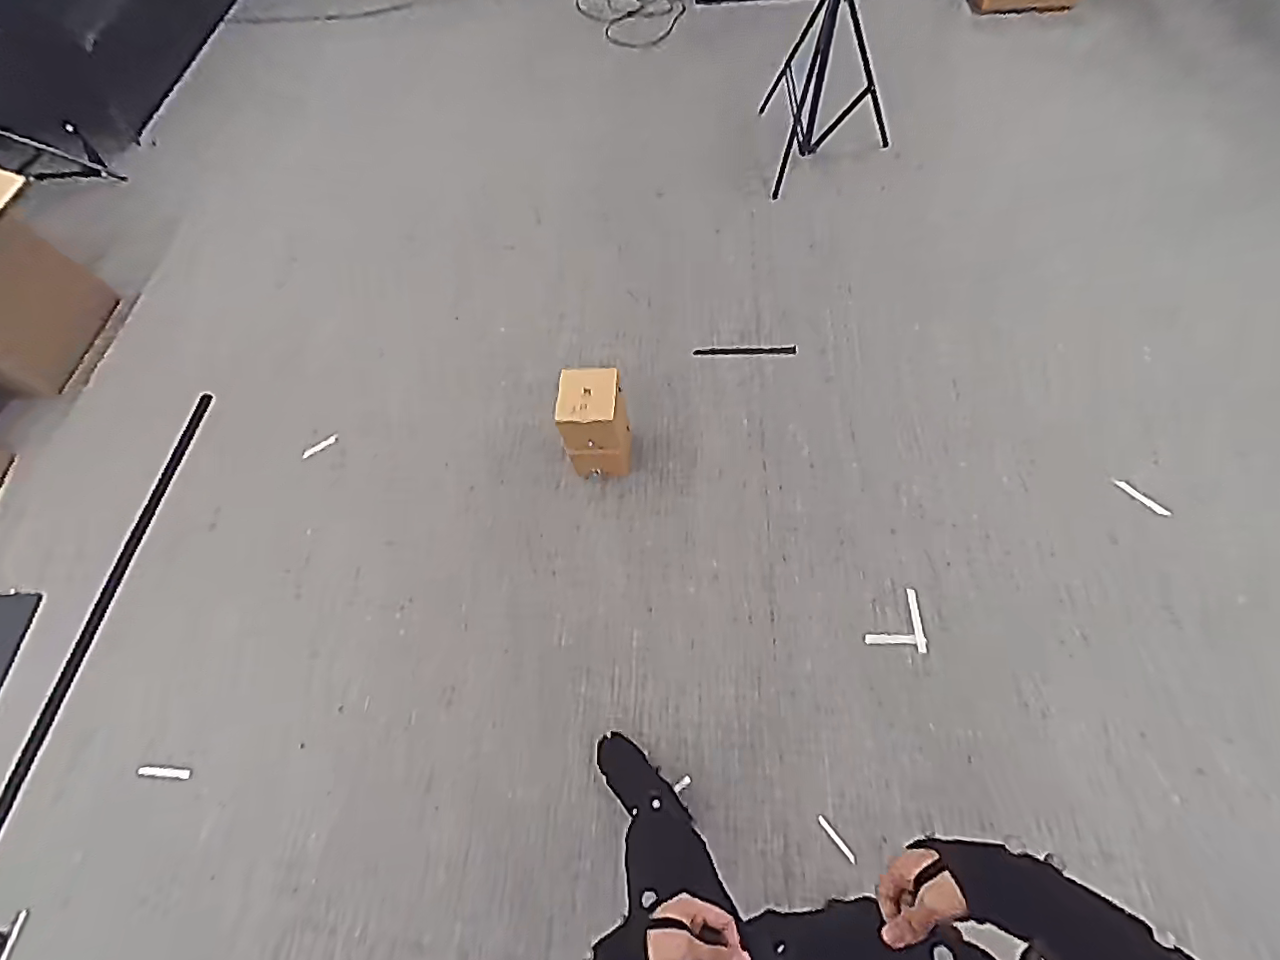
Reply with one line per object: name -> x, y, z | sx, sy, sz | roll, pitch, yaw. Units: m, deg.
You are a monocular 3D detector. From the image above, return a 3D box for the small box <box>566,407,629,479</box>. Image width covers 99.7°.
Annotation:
small box -> -0.127, -0.119, 1.716 | 0.168, 0.176, 0.179 | 0, 63, 7

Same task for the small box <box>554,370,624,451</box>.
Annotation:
small box -> -0.142, -0.200, 1.574 | 0.168, 0.176, 0.179 | 0, 64, 7
